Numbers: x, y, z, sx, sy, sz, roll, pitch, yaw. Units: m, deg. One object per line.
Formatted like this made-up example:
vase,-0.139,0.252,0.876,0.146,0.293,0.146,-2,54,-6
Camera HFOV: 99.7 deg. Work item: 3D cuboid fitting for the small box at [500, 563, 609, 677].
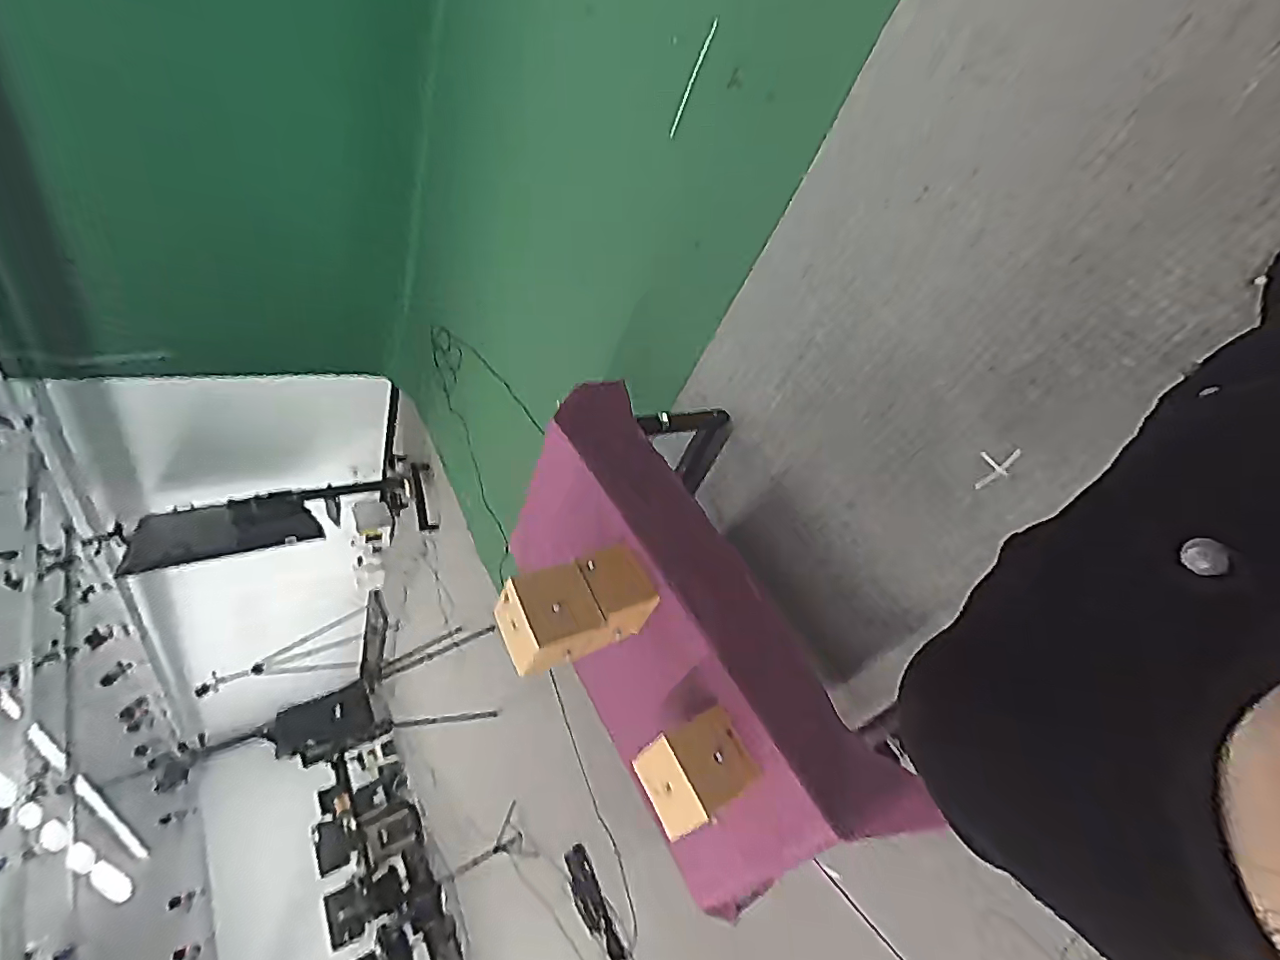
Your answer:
small box,-0.196,0.315,1.238,0.179,0.176,0.168,58,138,25

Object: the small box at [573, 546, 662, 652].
small box,-0.072,0.289,1.342,0.179,0.176,0.168,55,137,29

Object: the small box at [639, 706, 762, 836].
small box,0.133,0.614,1.154,0.168,0.176,0.179,56,137,28
